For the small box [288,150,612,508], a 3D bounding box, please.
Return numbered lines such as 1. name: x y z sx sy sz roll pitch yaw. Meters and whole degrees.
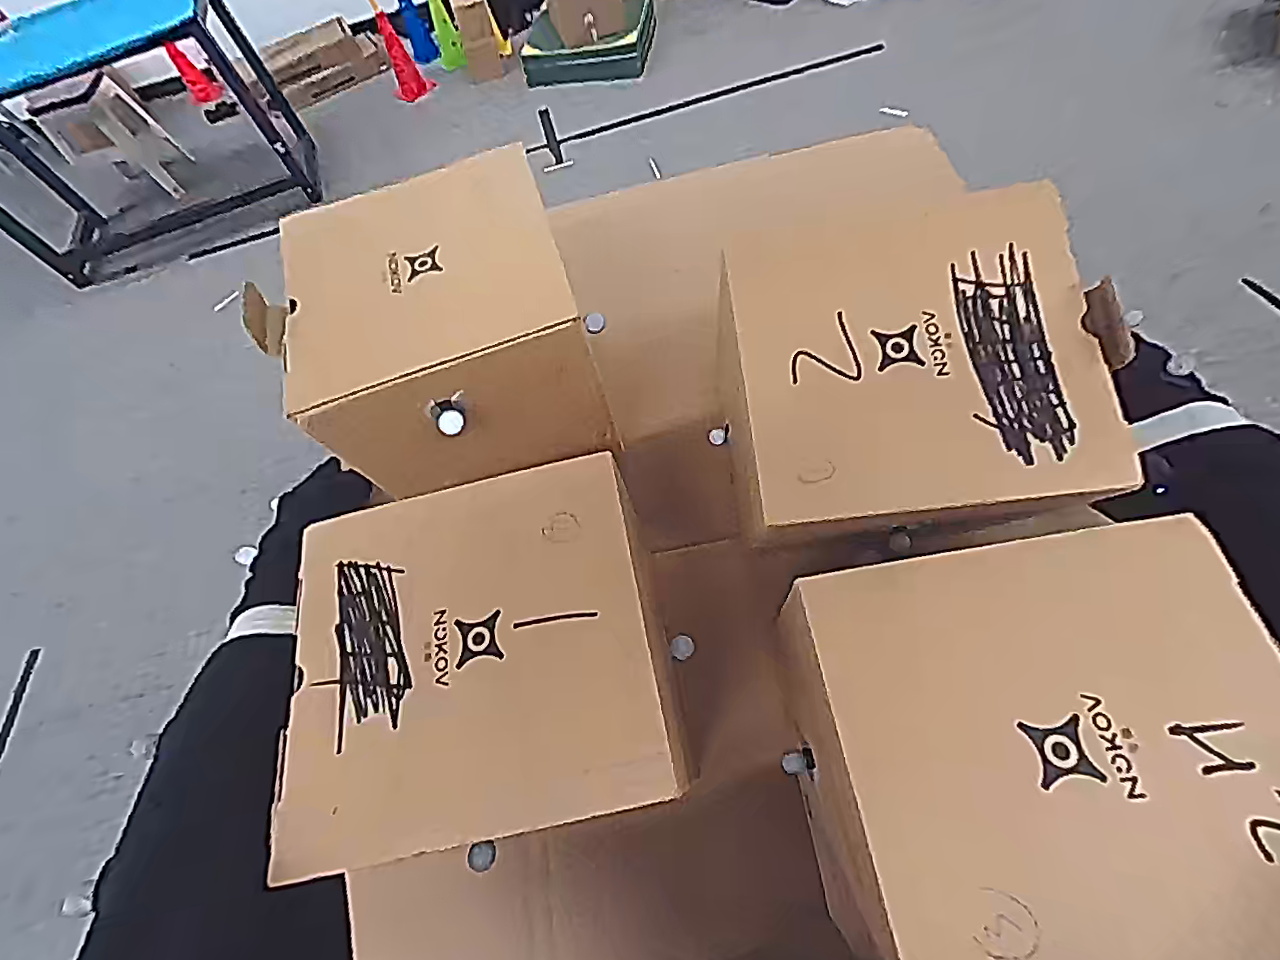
1. small box: -0.128 -0.100 0.413 0.179 0.176 0.168 -19 64 1
